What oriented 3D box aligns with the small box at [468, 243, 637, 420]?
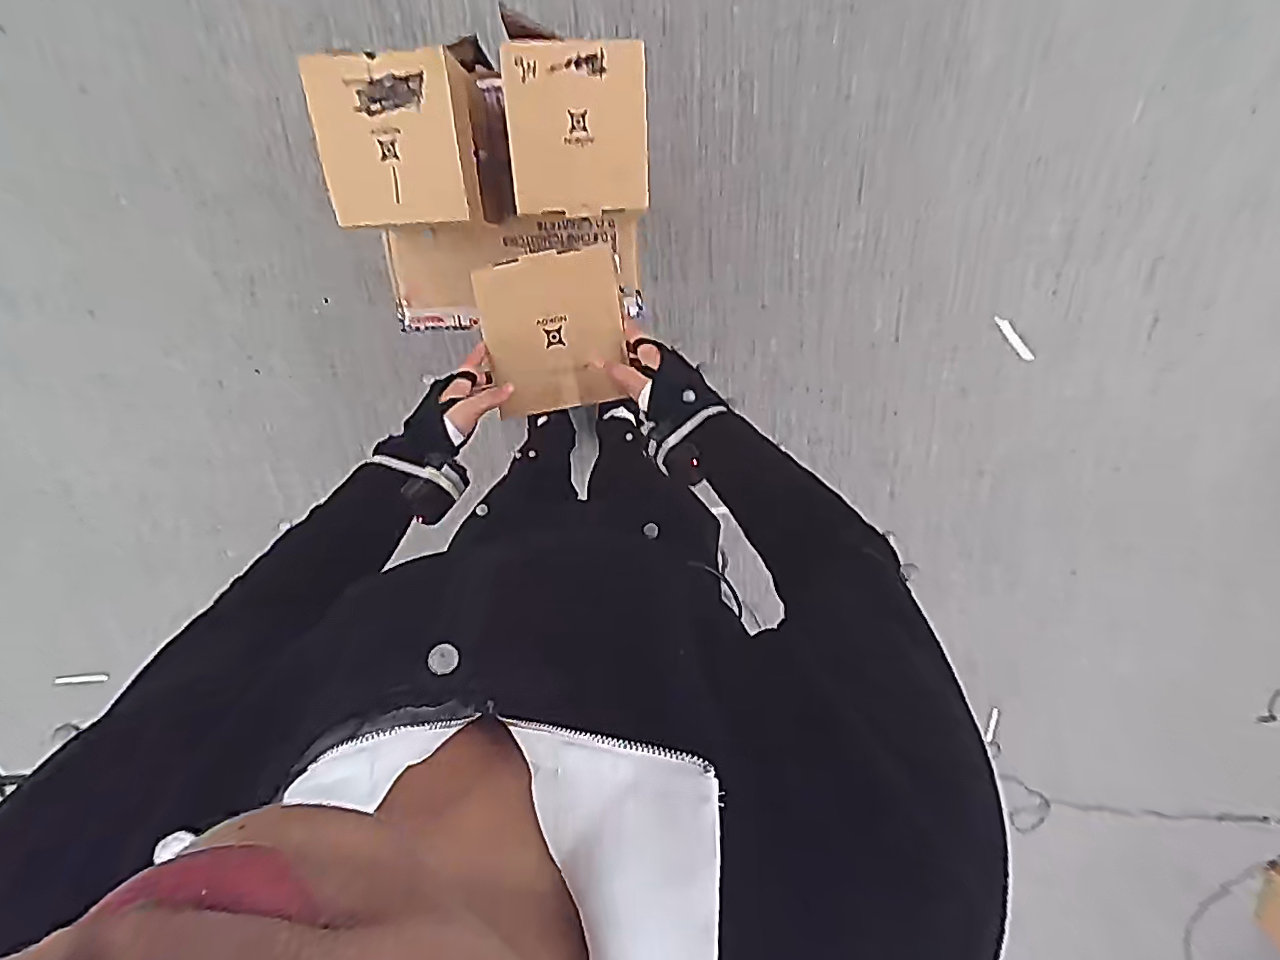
[{"bbox_3d":[-0.098,-0.180,0.692,0.168,0.176,0.179,-9,101,4],"label":"small box"}]
